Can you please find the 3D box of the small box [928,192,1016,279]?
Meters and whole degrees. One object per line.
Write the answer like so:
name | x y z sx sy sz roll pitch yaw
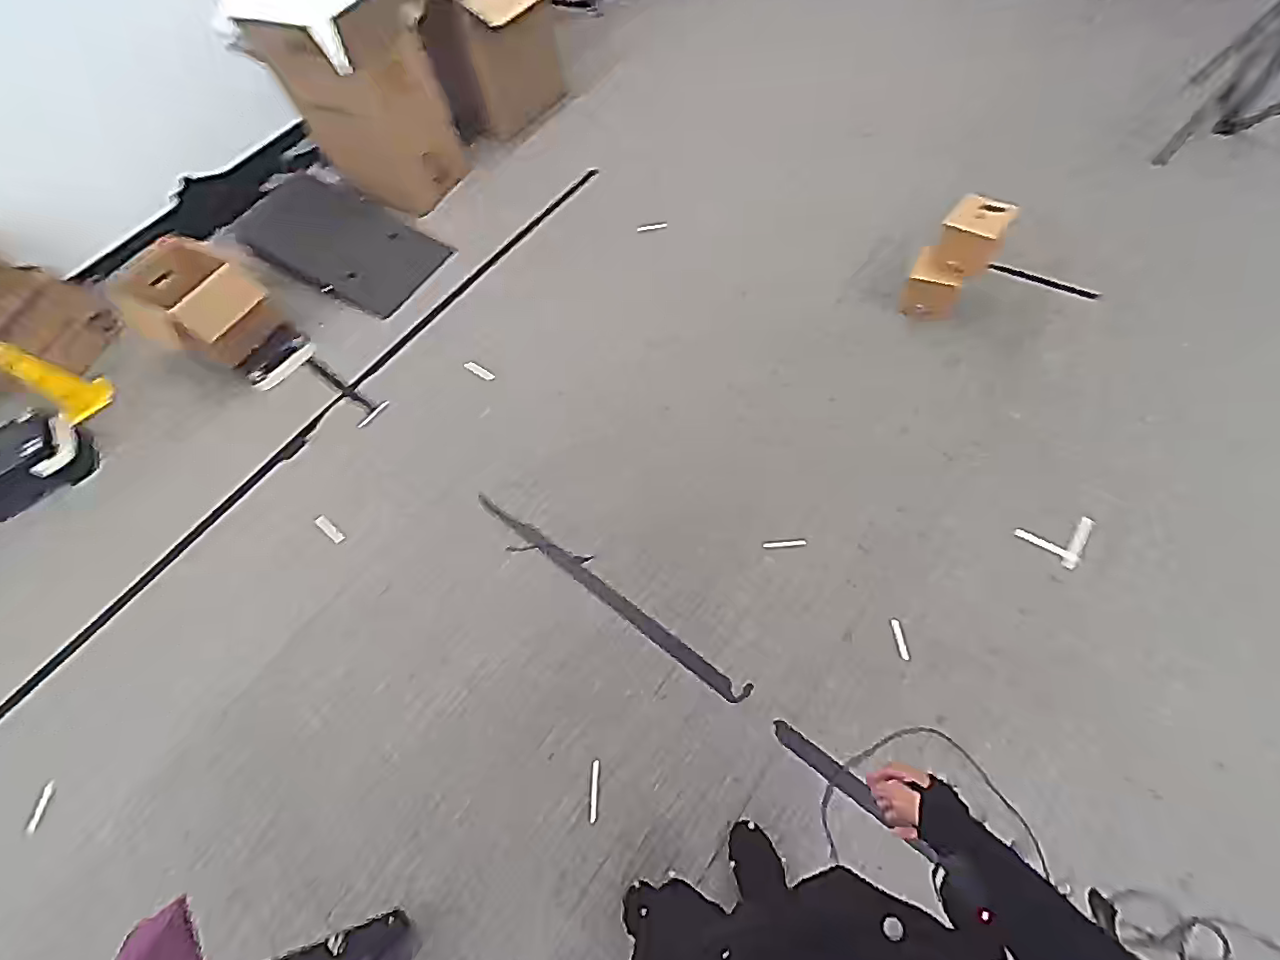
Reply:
small box | 1.080 -0.801 1.776 0.168 0.176 0.179 35 73 26

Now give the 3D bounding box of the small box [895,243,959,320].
small box | 1.028 -0.705 1.921 0.168 0.176 0.179 20 67 20
